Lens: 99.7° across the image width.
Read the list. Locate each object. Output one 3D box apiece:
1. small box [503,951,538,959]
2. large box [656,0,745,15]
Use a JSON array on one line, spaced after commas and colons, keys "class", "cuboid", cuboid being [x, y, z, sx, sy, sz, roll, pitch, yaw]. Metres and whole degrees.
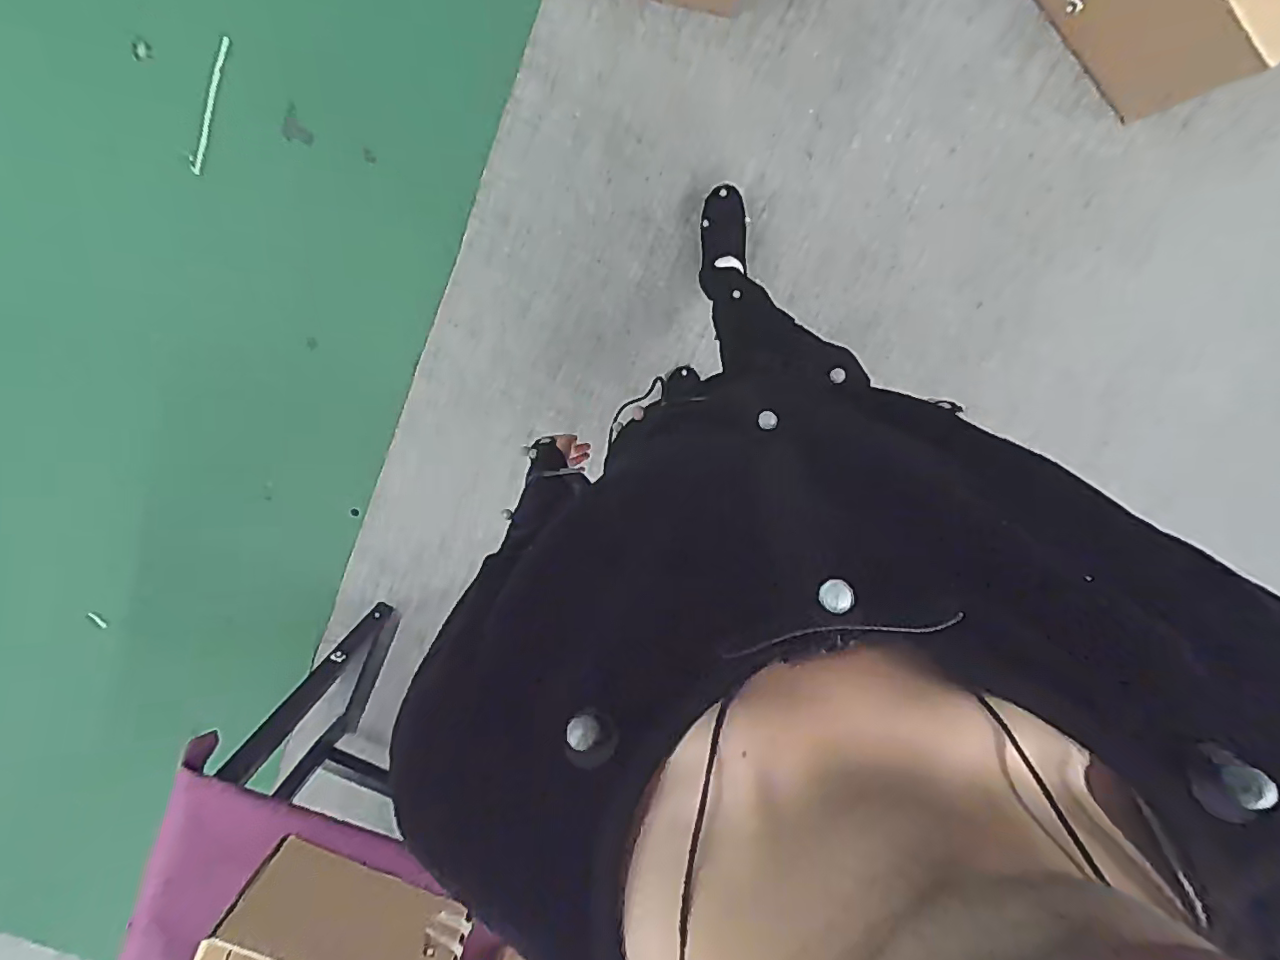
[{"class": "small box", "cuboid": [-0.227, 1.048, 1.019, 0.168, 0.176, 0.179, 28, 108, -5]}, {"class": "large box", "cuboid": [0.047, -1.159, 1.011, 0.408, 0.320, 0.320, 13, 107, 0]}]
